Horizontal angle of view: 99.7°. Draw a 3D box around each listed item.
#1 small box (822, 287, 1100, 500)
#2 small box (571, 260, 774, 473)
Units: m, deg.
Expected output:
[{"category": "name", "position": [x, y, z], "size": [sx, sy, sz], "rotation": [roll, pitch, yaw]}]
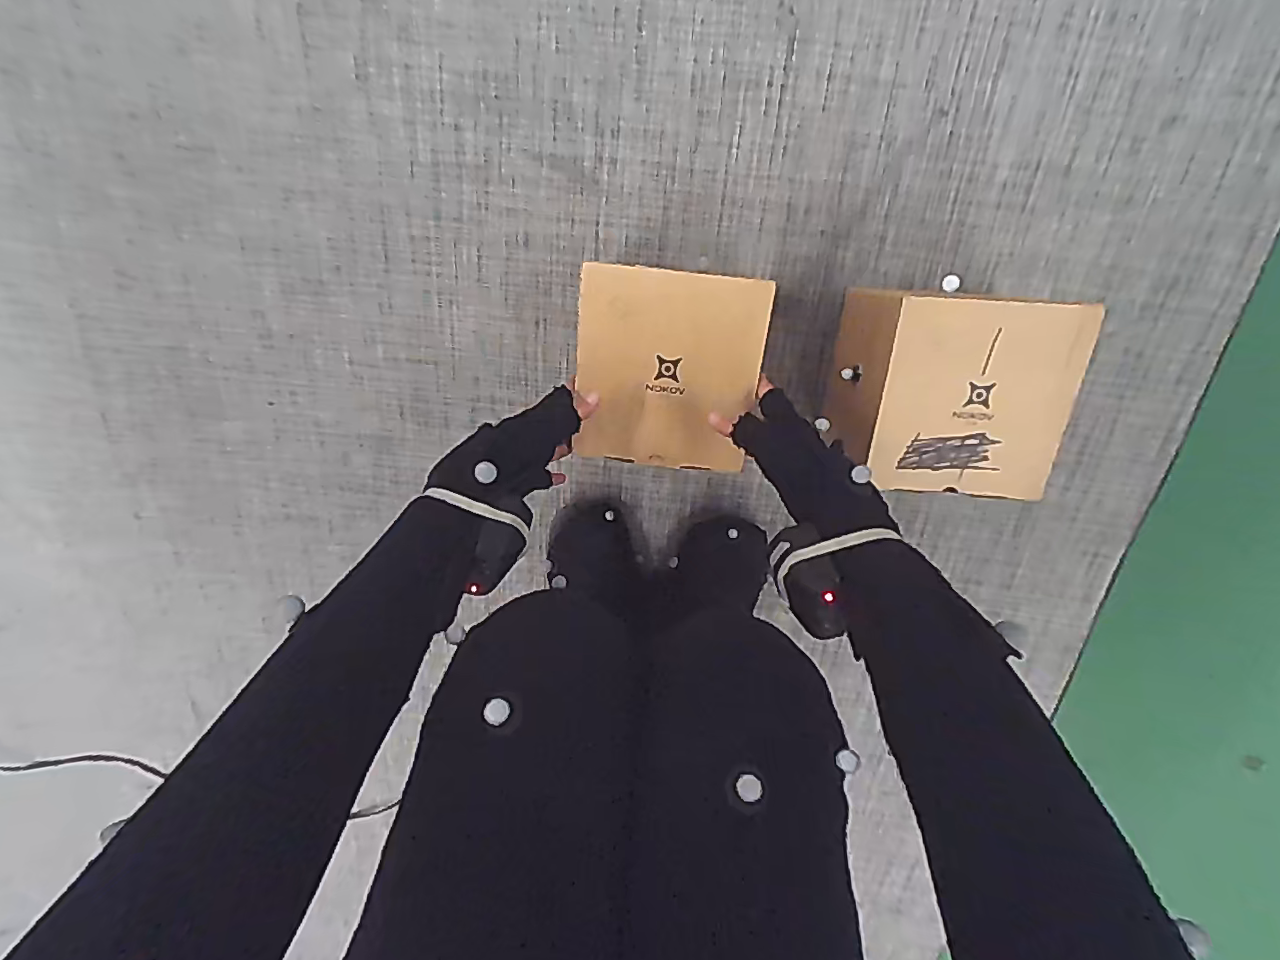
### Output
[{"category": "small box", "position": [0.294, -0.097, 0.547], "size": [0.168, 0.176, 0.179], "rotation": [4, 111, 3]}, {"category": "small box", "position": [0.027, -0.124, 0.556], "size": [0.168, 0.176, 0.179], "rotation": [6, 112, 1]}]
